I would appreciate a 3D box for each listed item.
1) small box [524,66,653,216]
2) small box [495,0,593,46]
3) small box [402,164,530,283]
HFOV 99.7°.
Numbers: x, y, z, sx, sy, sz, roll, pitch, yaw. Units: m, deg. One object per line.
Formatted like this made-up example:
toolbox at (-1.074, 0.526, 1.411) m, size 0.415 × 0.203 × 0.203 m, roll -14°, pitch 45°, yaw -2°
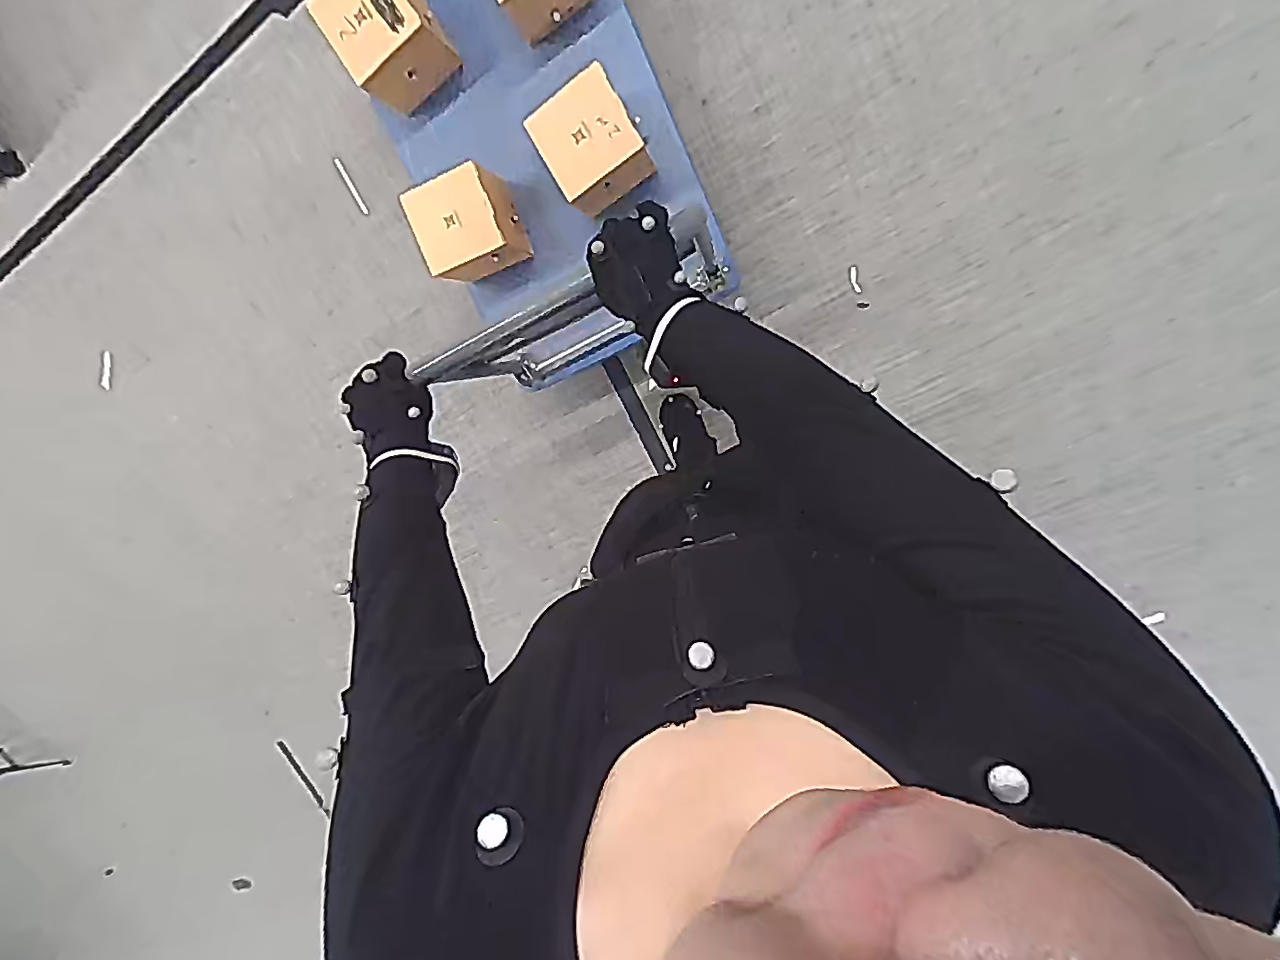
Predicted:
small box at (-0.094, -0.658, 1.079) m, size 0.179 × 0.176 × 0.168 m, roll -29°, pitch 99°, yaw 17°
small box at (-0.209, -0.975, 1.007) m, size 0.168 × 0.176 × 0.179 m, roll -25°, pitch 101°, yaw 16°
small box at (-0.364, -0.538, 1.163) m, size 0.179 × 0.176 × 0.168 m, roll -18°, pitch 102°, yaw 13°
